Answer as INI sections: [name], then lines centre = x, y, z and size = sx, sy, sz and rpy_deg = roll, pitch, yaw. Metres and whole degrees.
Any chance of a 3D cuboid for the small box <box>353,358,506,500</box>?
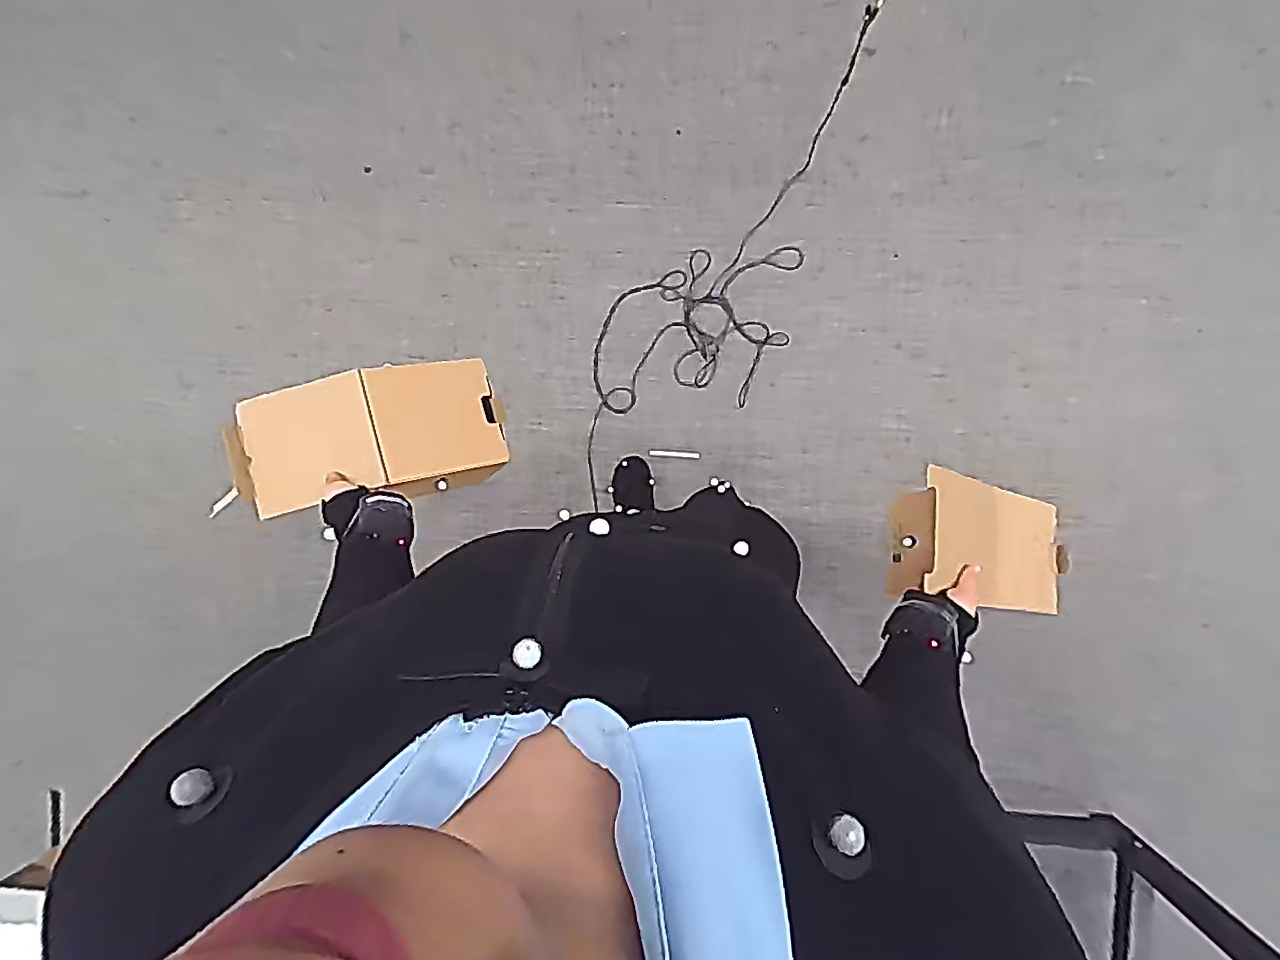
[small box]
centre = -0.328, -0.073, 0.826
size = 0.179, 0.176, 0.168
rpy_deg = -13, 86, -33
